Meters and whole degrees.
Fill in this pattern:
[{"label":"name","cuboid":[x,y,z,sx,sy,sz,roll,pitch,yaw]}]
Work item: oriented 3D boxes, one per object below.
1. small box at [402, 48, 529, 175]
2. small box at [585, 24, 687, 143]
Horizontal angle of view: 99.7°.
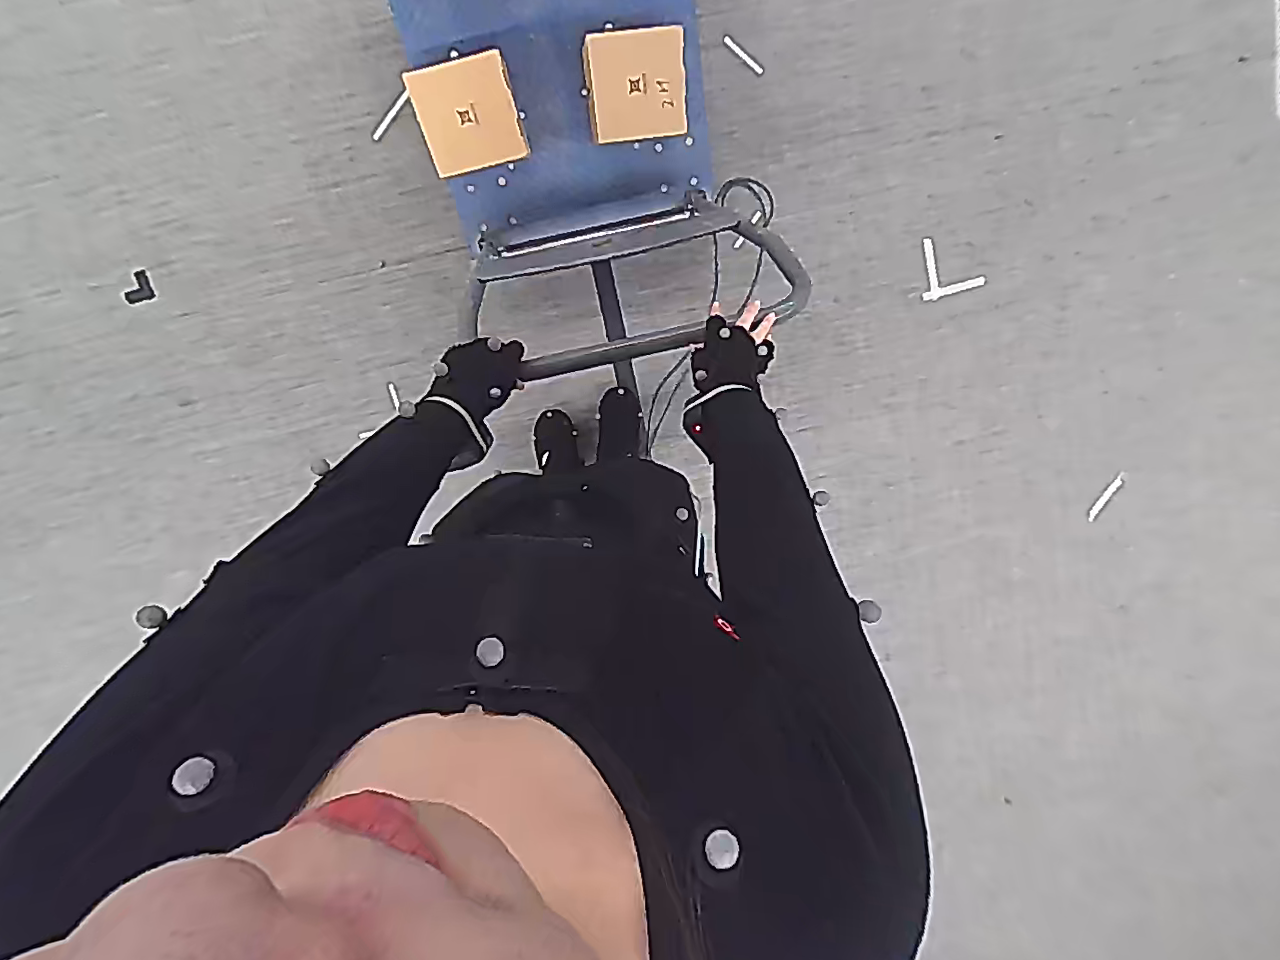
[{"label":"small box","cuboid":[-0.323,-0.699,1.043,0.179,0.176,0.168,-16,122,-1]},{"label":"small box","cuboid":[-0.012,-0.763,1.055,0.179,0.176,0.168,-9,122,-4]}]
